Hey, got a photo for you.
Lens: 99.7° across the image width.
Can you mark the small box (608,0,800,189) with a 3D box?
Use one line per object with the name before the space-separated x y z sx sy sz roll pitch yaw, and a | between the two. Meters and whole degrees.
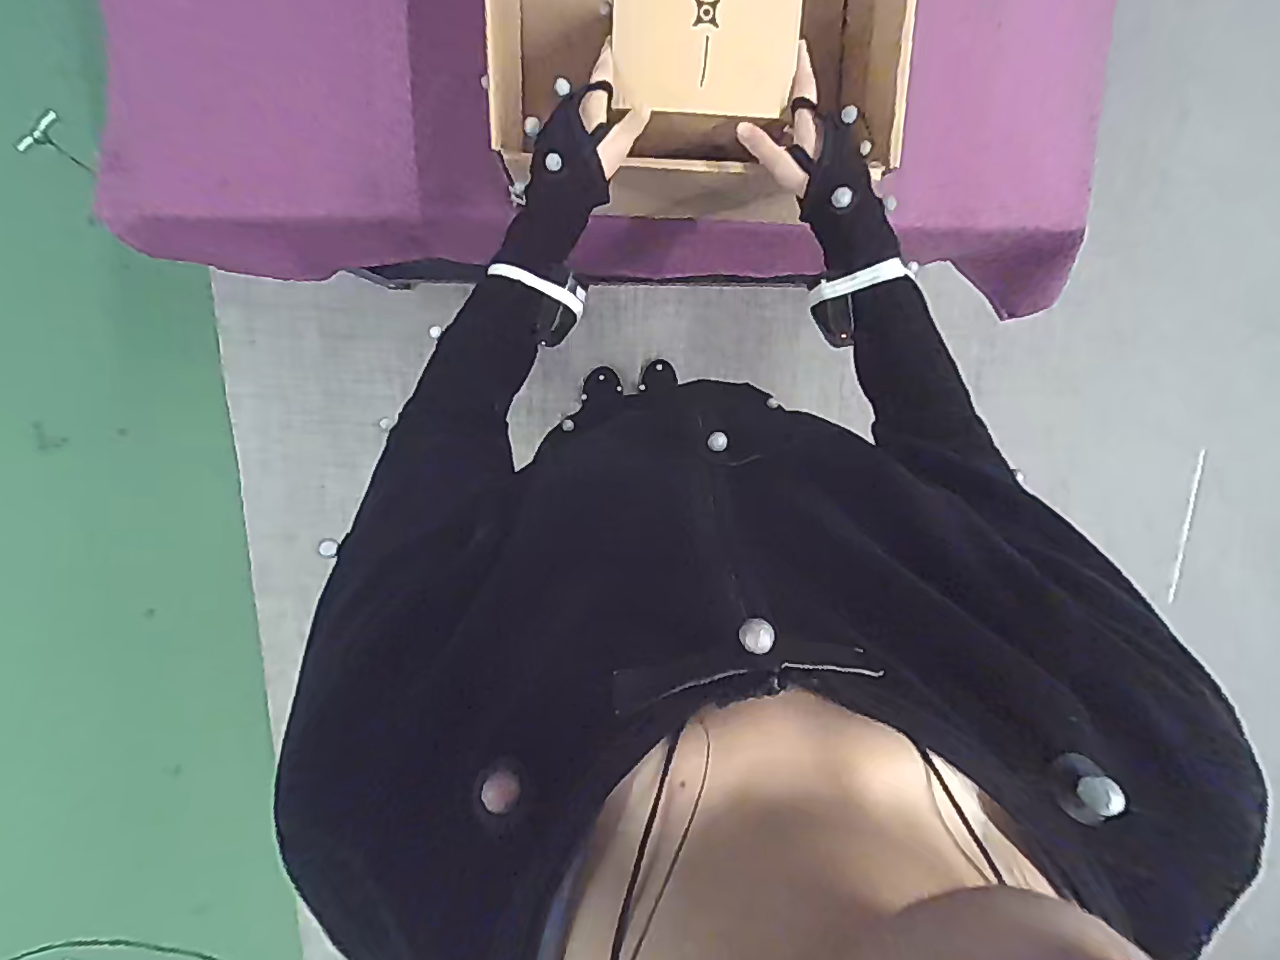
small box | 0.053 -0.421 0.548 0.168 0.176 0.179 2 102 -3
